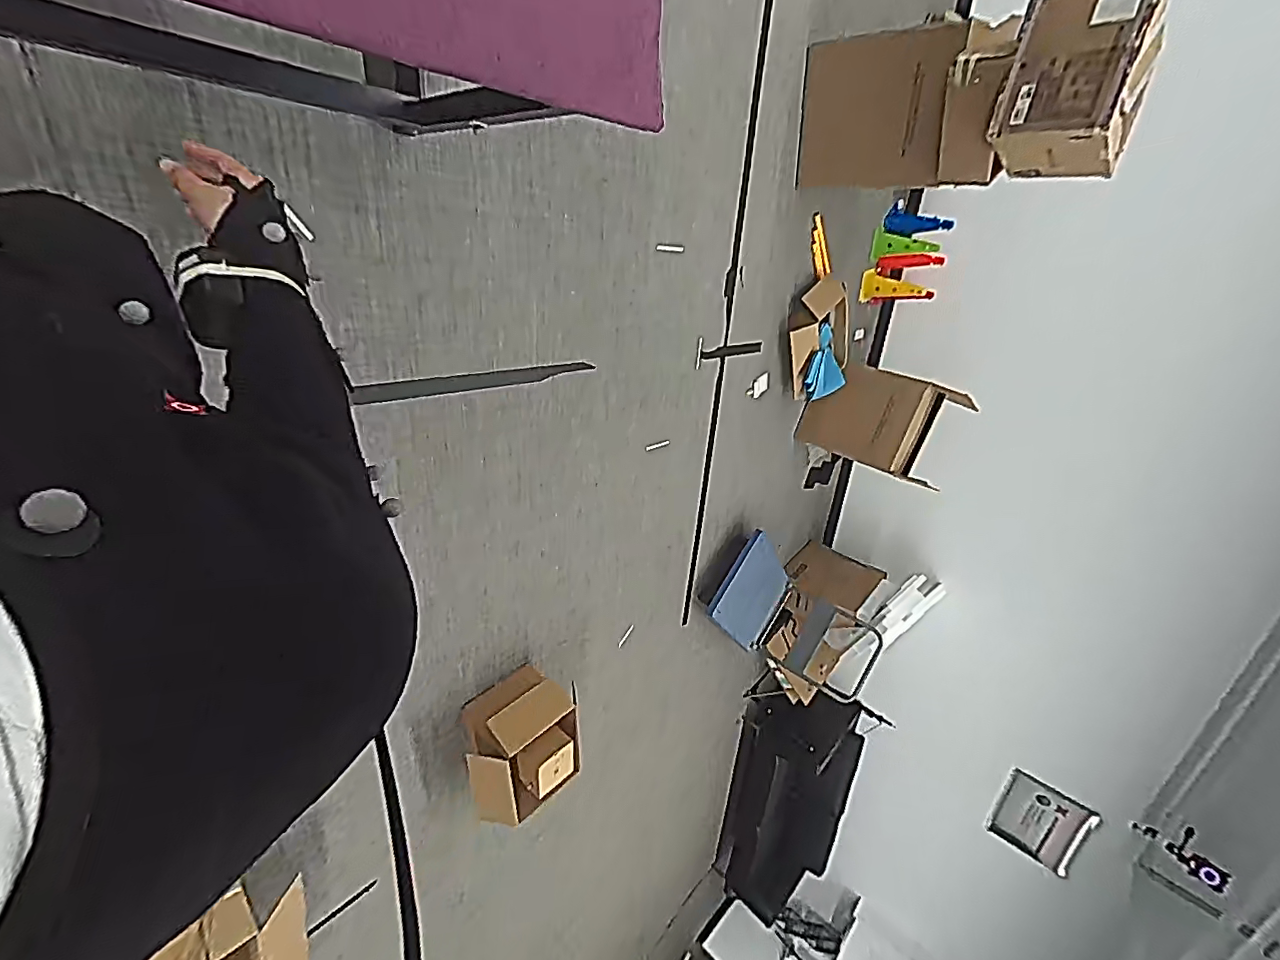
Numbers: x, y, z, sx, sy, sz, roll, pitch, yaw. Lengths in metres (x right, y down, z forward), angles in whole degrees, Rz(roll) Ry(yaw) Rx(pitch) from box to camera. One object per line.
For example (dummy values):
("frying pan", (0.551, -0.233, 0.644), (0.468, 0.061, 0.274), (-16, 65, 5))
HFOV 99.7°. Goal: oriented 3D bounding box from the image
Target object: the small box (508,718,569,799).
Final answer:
("small box", (-0.386, 1.047, 2.049), (0.168, 0.176, 0.179), (-23, 126, -44))
